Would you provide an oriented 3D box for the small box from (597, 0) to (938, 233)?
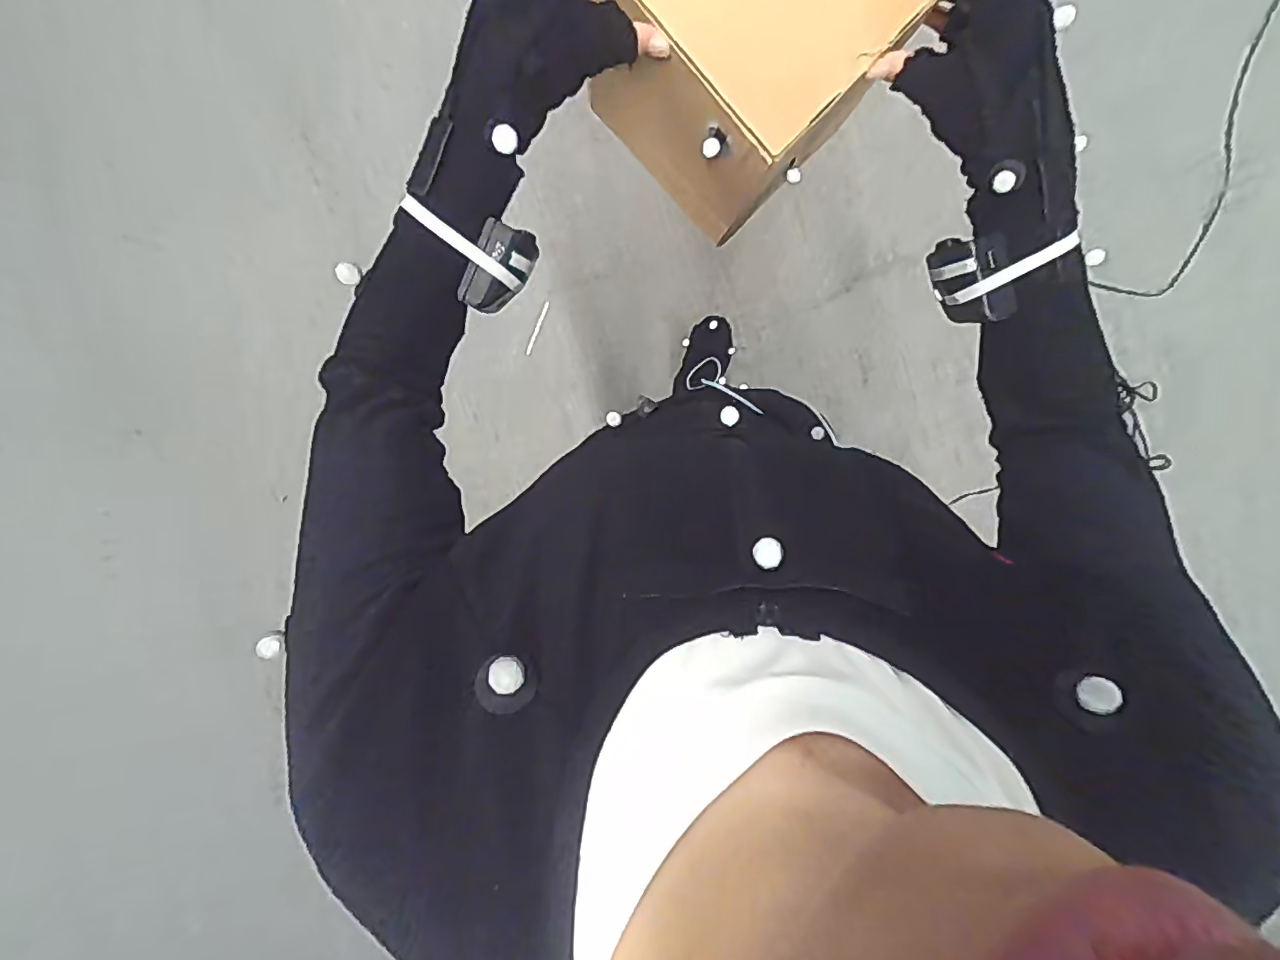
[{"bbox_3d":[0.078,-0.333,0.420,0.168,0.176,0.179,-45,97,1],"label":"small box"}]
